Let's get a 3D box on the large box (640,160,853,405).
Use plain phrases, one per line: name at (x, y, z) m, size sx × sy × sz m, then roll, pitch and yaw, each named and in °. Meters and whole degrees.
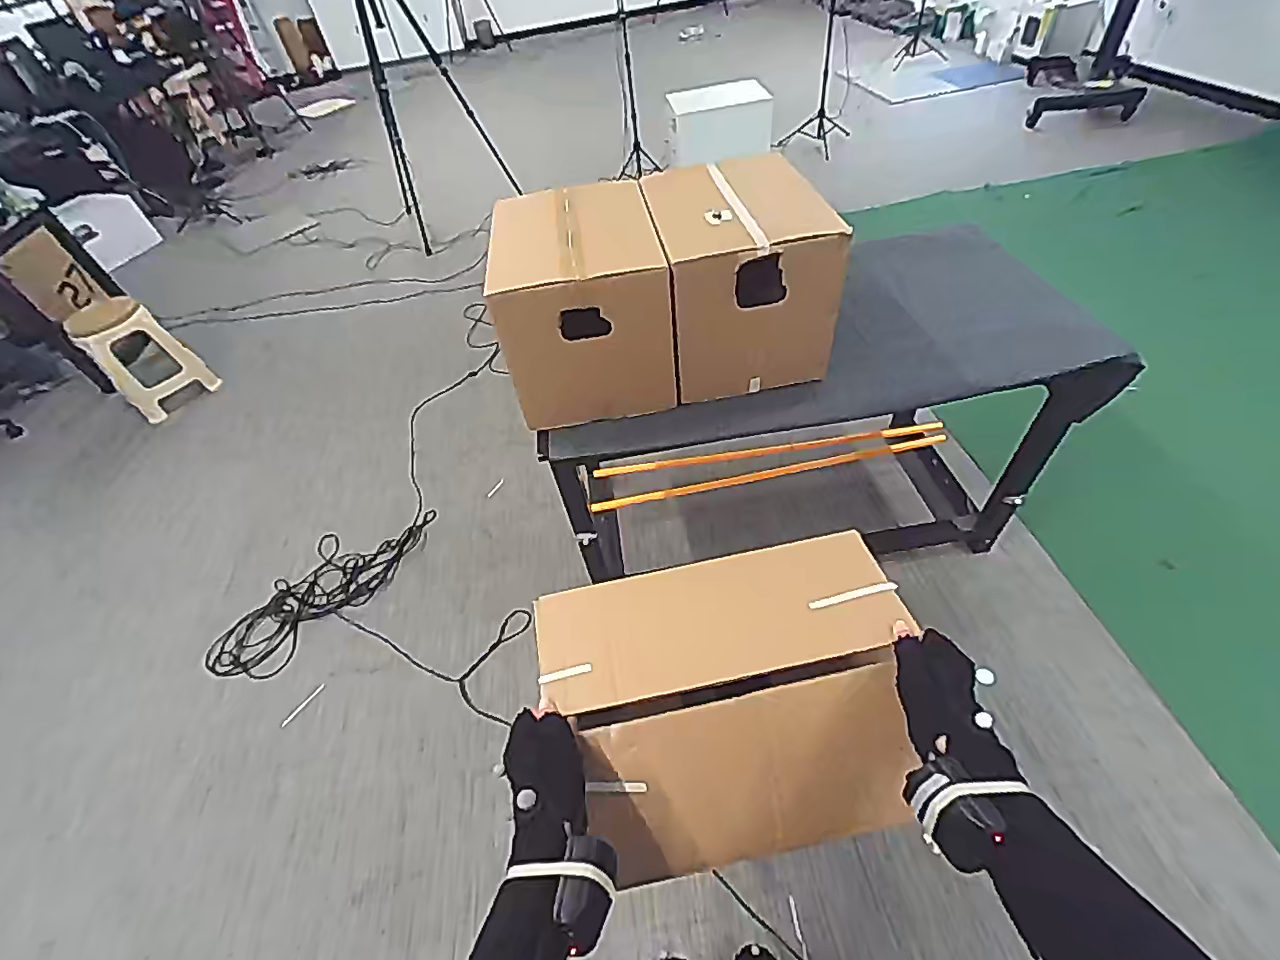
large box at (0.195, -0.423, 1.147) m, size 0.320 × 0.320 × 0.408 m, roll -11°, pitch 49°, yaw 0°
